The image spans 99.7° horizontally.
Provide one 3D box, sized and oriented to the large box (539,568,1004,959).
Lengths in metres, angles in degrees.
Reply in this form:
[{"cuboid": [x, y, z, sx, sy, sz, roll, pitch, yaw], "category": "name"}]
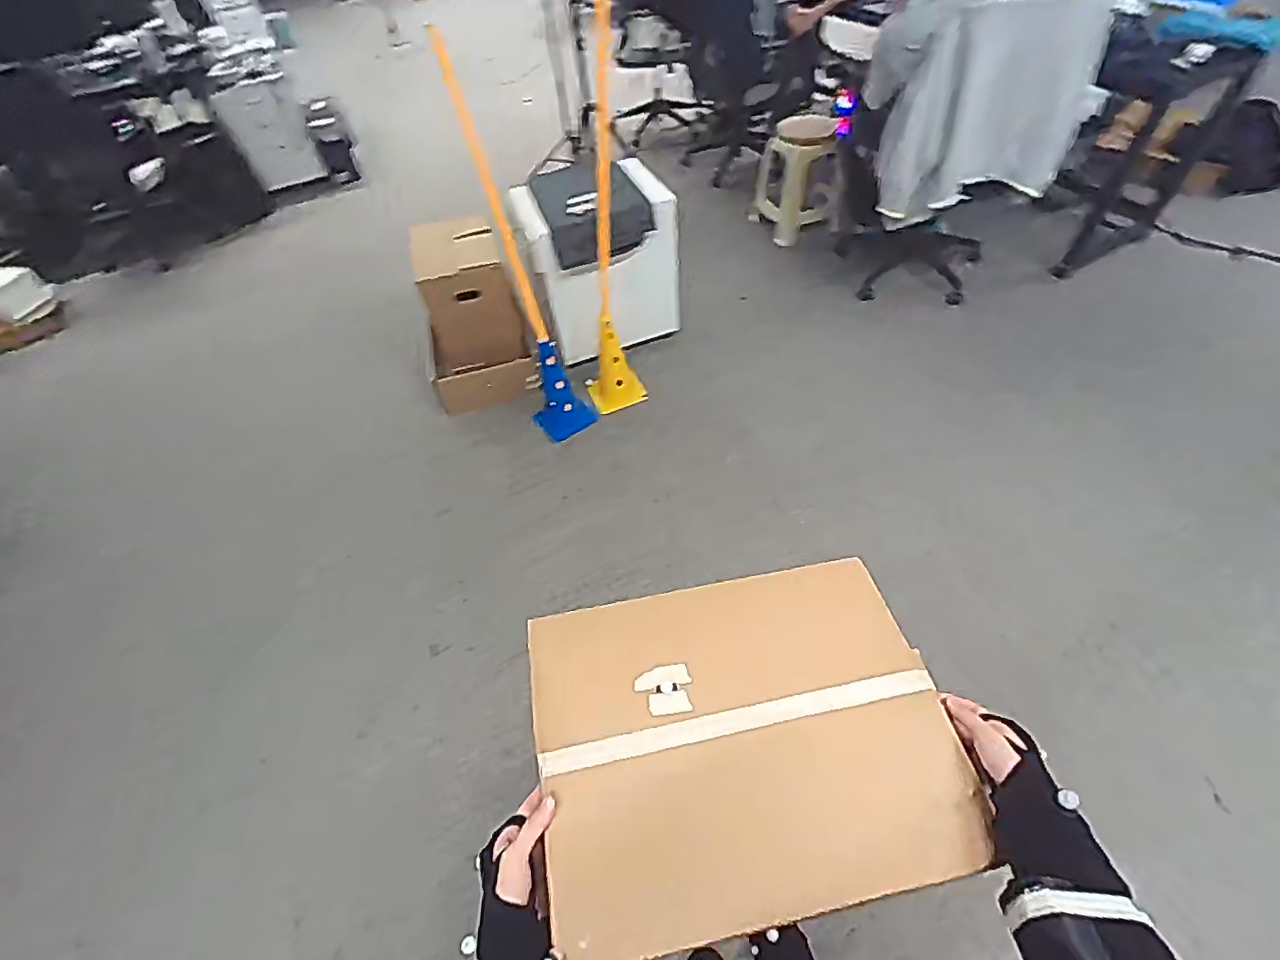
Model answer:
[{"cuboid": [0.112, 0.349, 0.669, 0.408, 0.320, 0.320, -10, 51, -5], "category": "large box"}]
